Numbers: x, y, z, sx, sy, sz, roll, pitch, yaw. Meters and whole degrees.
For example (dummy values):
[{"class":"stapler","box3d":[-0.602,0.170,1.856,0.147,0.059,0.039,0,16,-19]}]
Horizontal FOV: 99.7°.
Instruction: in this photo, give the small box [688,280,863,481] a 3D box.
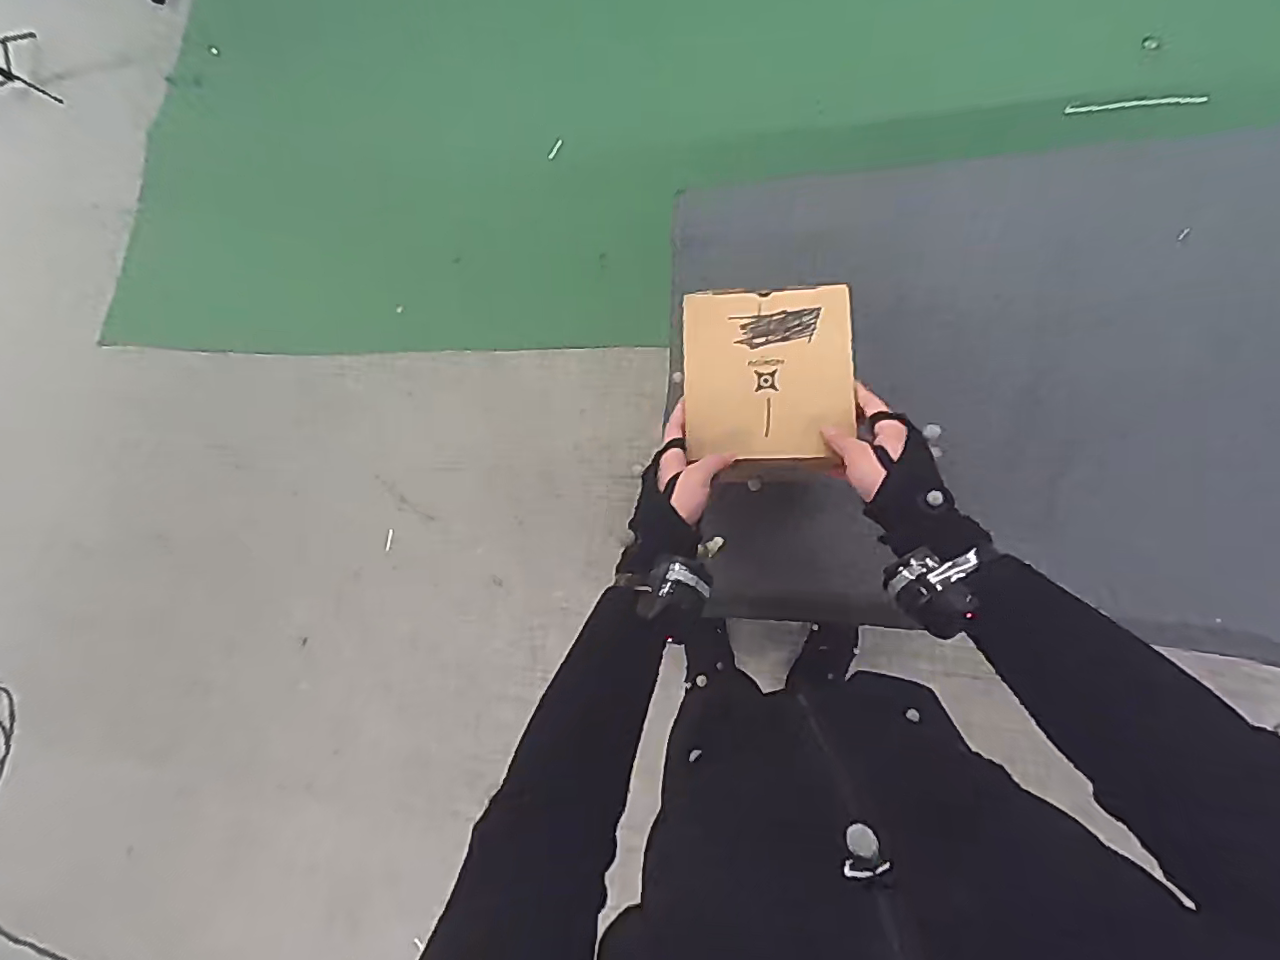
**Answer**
[{"class":"small box","box3d":[0.138,-0.098,0.602,0.168,0.176,0.179,-1,82,7]}]
